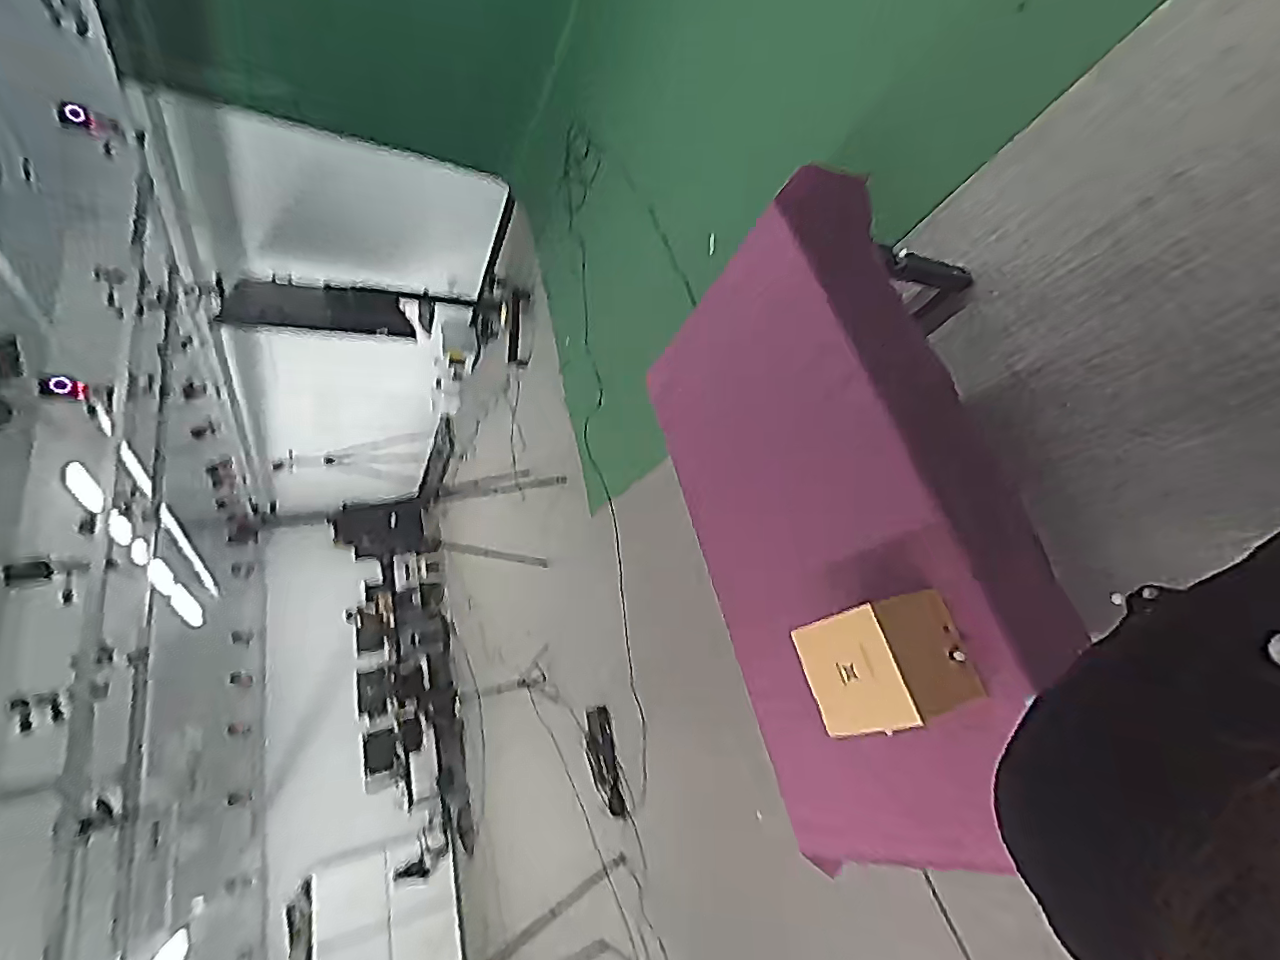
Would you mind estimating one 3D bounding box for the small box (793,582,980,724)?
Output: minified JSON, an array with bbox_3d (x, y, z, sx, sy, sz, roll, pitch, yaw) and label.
[{"bbox_3d":[0.382,0.271,0.852,0.179,0.176,0.168,-45,55,50],"label":"small box"}]
